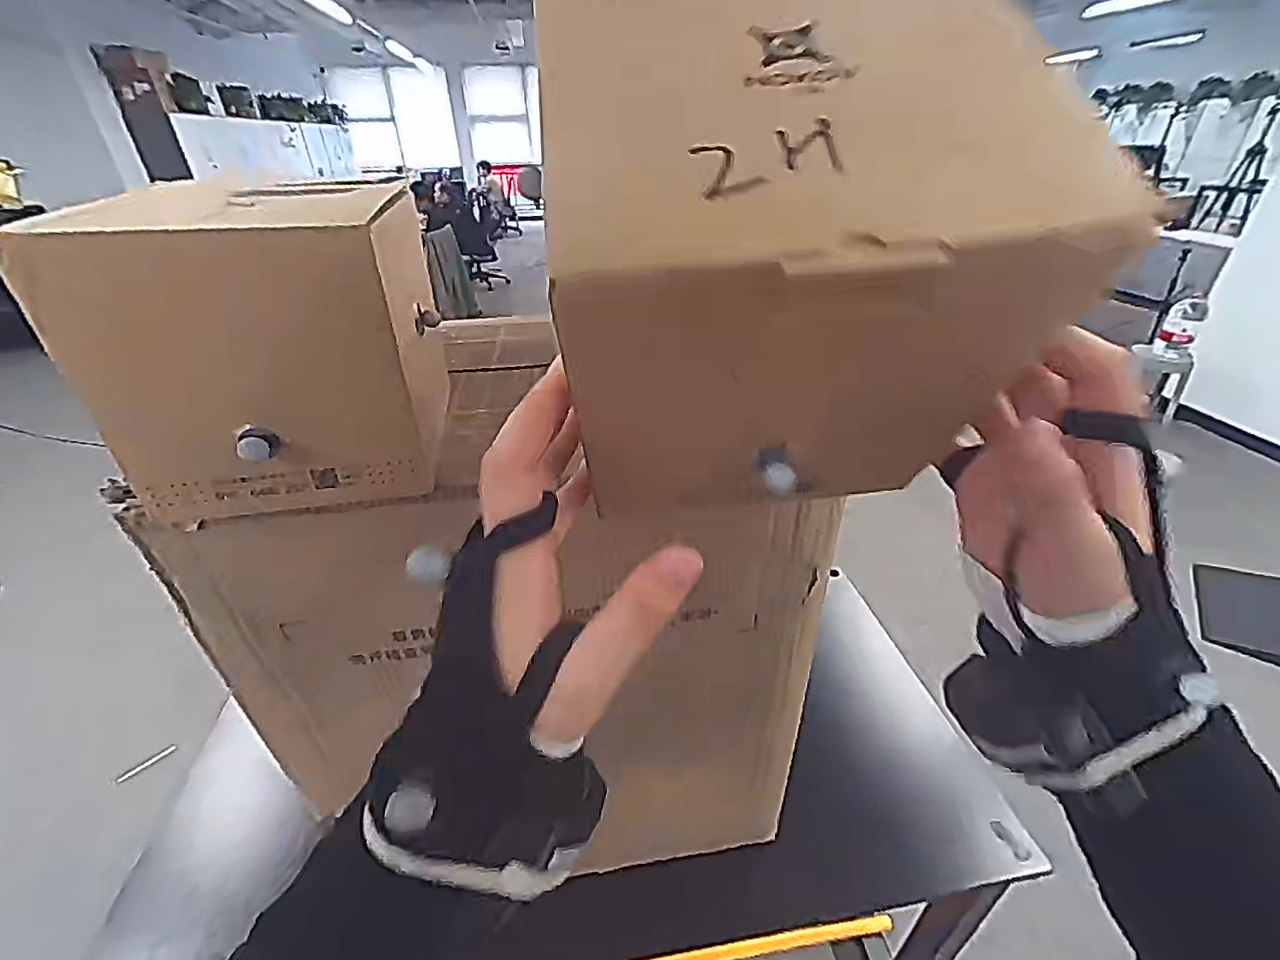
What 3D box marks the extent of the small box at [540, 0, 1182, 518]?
[{"bbox_3d":[0.051,-0.097,0.242,0.168,0.176,0.179,-6,67,-1],"label":"small box"}]
